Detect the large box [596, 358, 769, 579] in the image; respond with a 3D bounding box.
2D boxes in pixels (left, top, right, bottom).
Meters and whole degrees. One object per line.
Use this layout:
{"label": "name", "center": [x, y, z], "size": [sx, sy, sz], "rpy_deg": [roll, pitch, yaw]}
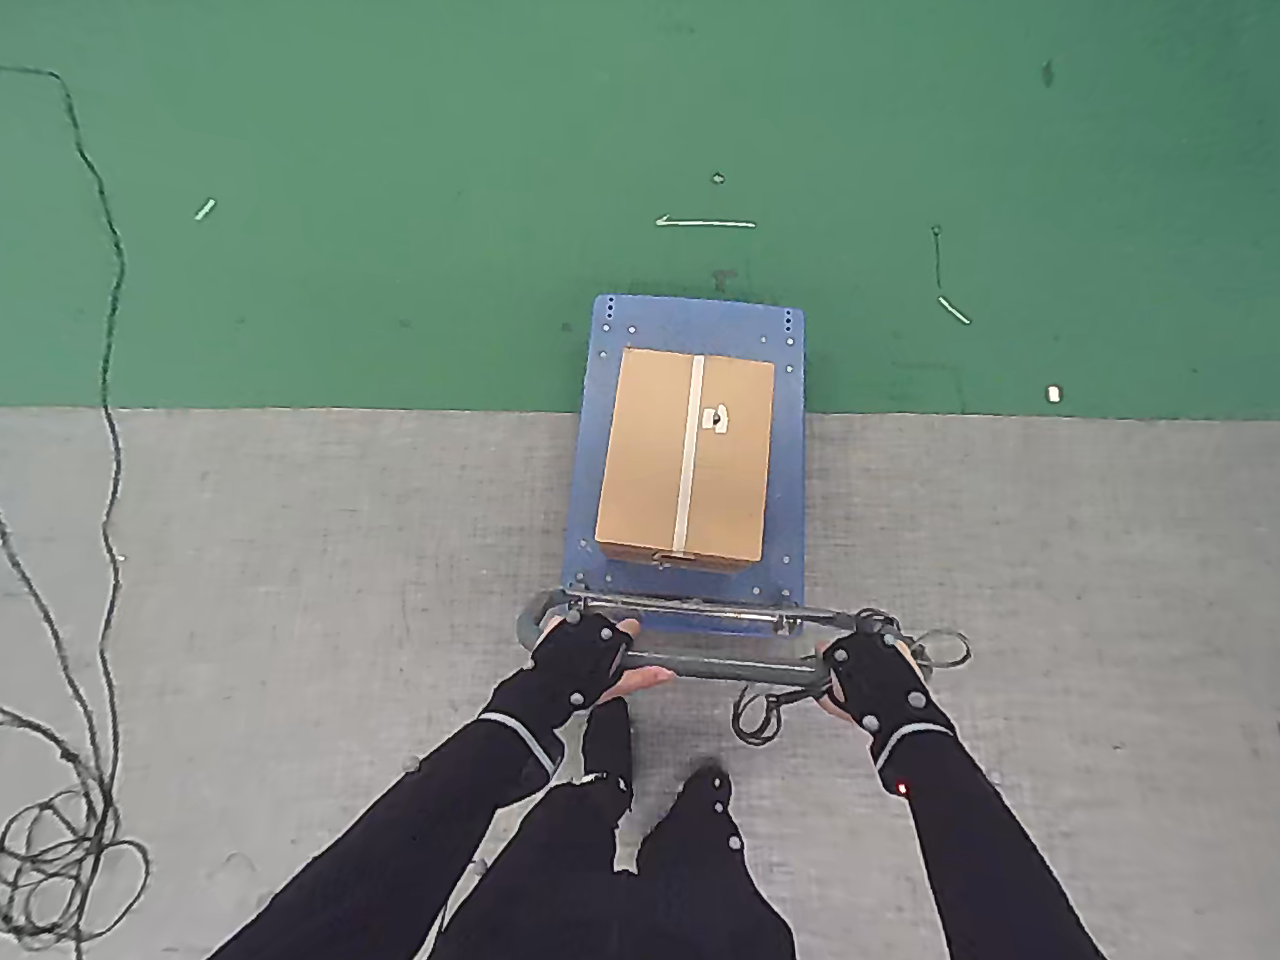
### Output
{"label": "large box", "center": [0.092, -0.006, 1.198], "size": [0.320, 0.320, 0.408], "rpy_deg": [7, 75, 2]}
